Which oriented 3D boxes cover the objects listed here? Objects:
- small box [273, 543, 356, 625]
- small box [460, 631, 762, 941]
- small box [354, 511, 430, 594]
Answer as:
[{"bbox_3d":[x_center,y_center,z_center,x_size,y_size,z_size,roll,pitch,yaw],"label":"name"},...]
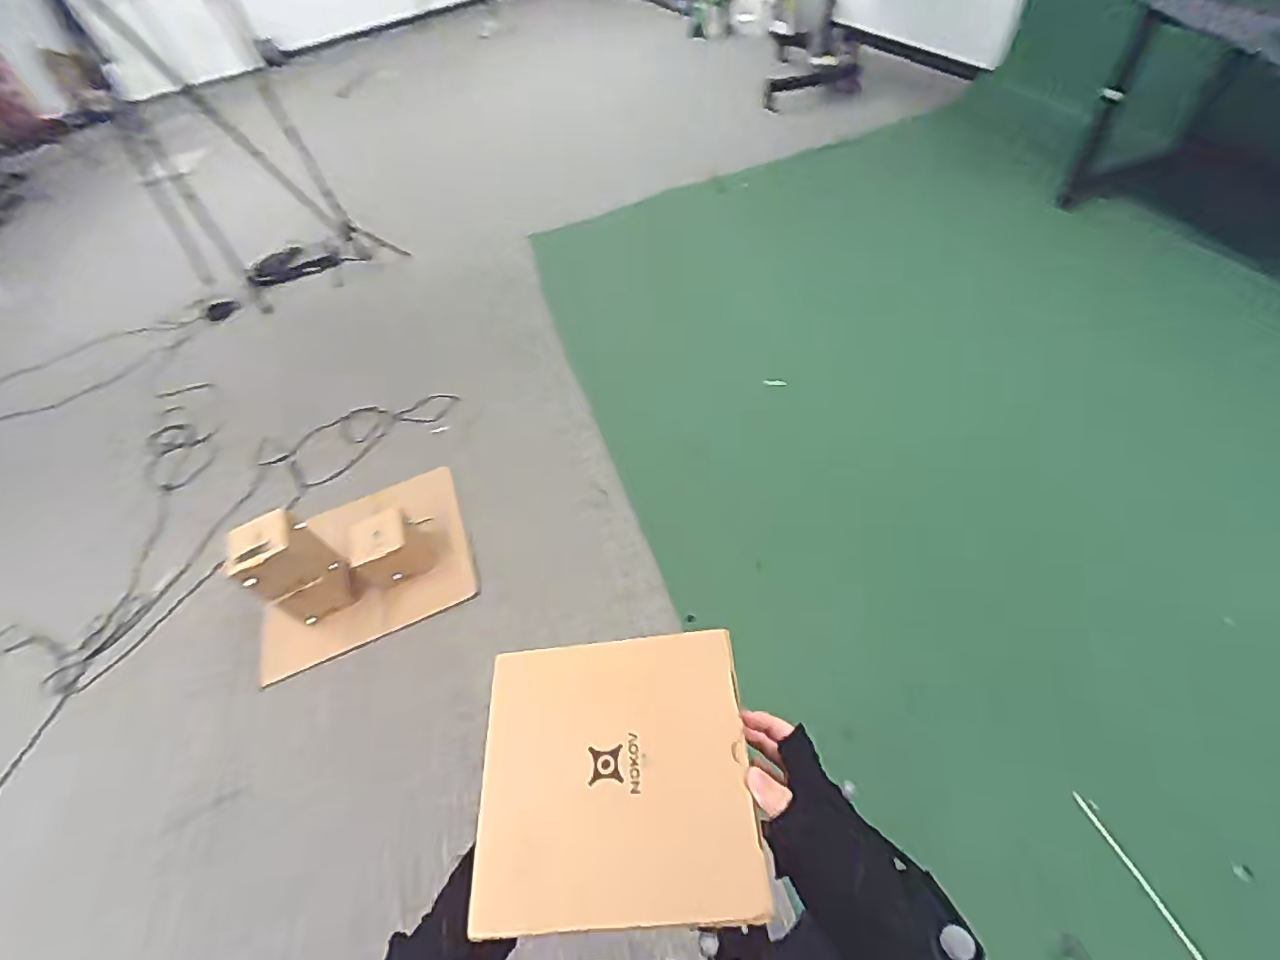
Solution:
[{"bbox_3d":[-1.031,0.340,1.722,0.168,0.176,0.179,-26,51,-9],"label":"small box"},{"bbox_3d":[-0.011,0.234,0.410,0.179,0.176,0.168,-9,52,3],"label":"small box"},{"bbox_3d":[-0.804,0.239,1.757,0.168,0.176,0.179,-23,51,-5],"label":"small box"}]
